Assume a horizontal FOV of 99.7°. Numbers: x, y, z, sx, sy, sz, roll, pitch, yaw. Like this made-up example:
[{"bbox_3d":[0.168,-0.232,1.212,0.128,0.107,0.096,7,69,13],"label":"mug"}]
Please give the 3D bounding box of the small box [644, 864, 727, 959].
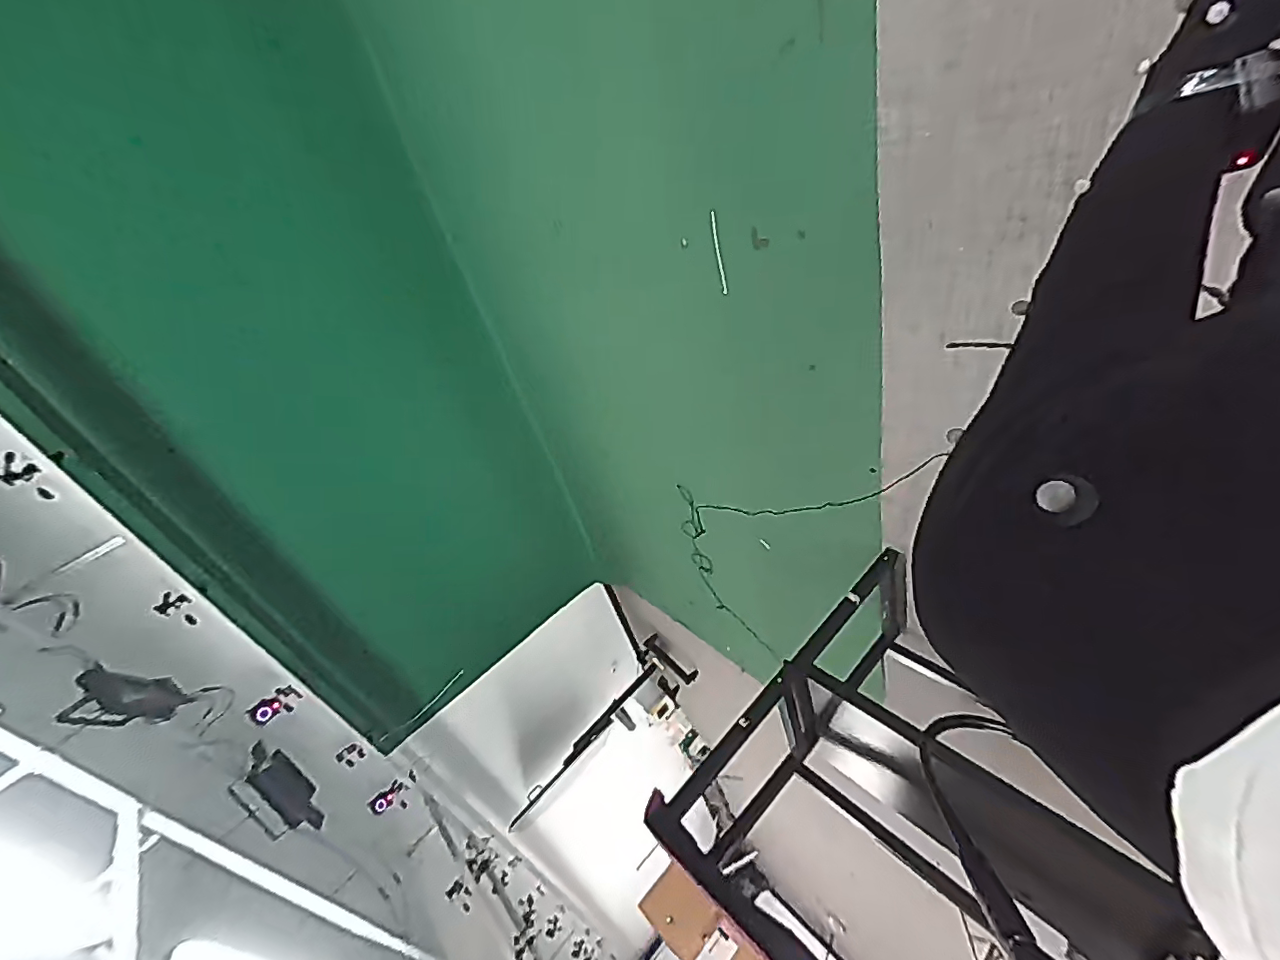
[{"bbox_3d":[0.145,1.300,1.604,0.179,0.176,0.168,27,144,42],"label":"small box"}]
